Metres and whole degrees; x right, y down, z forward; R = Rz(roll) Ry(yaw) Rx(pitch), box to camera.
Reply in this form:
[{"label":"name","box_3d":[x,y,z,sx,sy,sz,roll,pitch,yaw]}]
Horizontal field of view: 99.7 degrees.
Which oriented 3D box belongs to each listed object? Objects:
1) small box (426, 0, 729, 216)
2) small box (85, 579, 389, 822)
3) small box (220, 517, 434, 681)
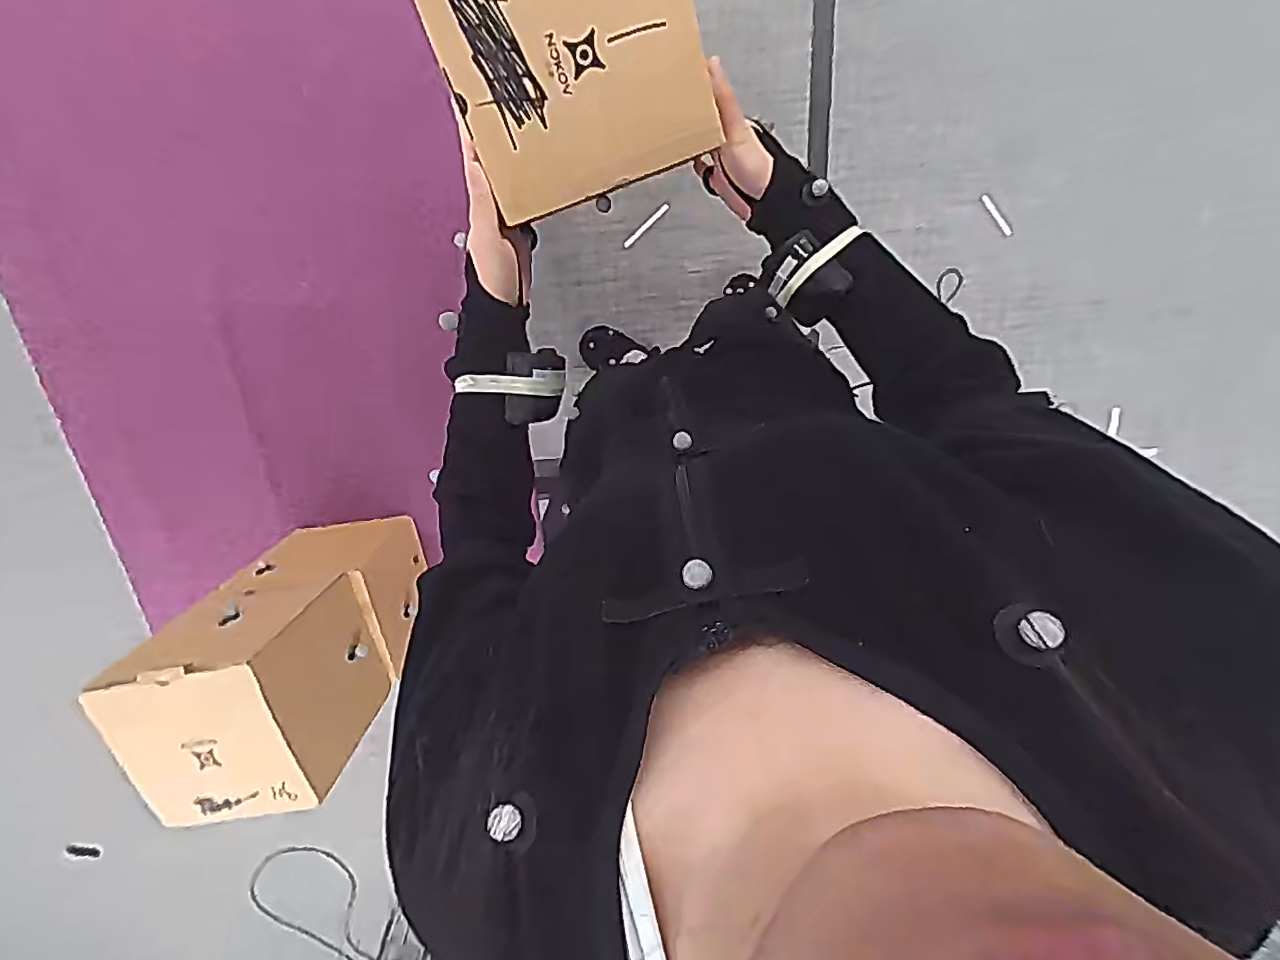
[{"label":"small box","box_3d":[-0.041,-0.327,0.437,0.179,0.176,0.168,-16,117,7]},{"label":"small box","box_3d":[-0.406,0.222,0.584,0.168,0.176,0.179,-10,109,3]},{"label":"small box","box_3d":[-0.401,0.161,0.736,0.179,0.176,0.168,-8,110,3]}]
